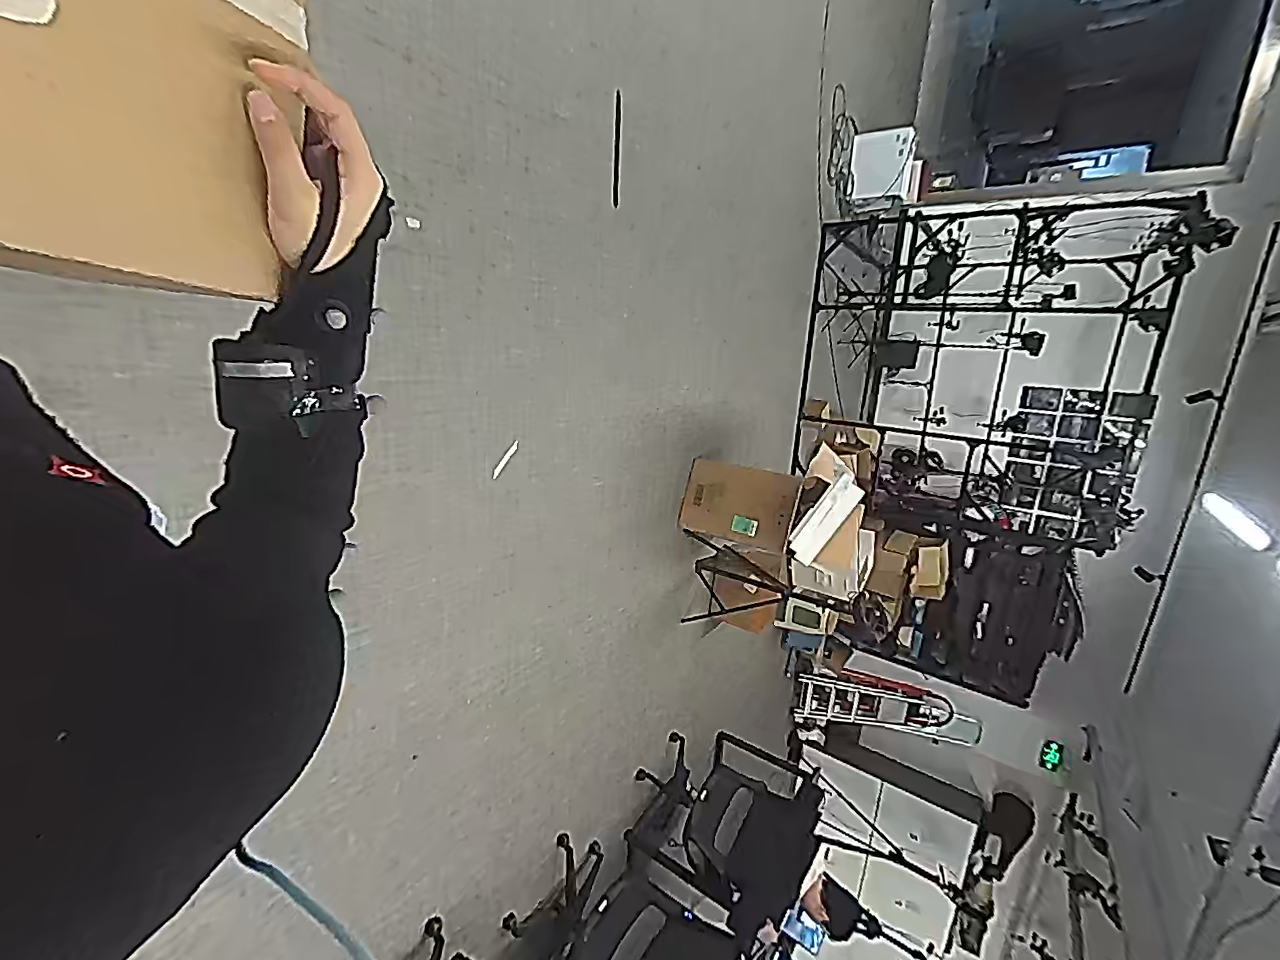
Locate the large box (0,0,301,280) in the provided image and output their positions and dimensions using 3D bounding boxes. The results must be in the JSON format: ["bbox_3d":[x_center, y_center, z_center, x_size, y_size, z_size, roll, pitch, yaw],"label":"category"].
[{"bbox_3d":[-0.431,-0.292,0.221,0.408,0.320,0.320,-8,111,-61],"label":"large box"}]
